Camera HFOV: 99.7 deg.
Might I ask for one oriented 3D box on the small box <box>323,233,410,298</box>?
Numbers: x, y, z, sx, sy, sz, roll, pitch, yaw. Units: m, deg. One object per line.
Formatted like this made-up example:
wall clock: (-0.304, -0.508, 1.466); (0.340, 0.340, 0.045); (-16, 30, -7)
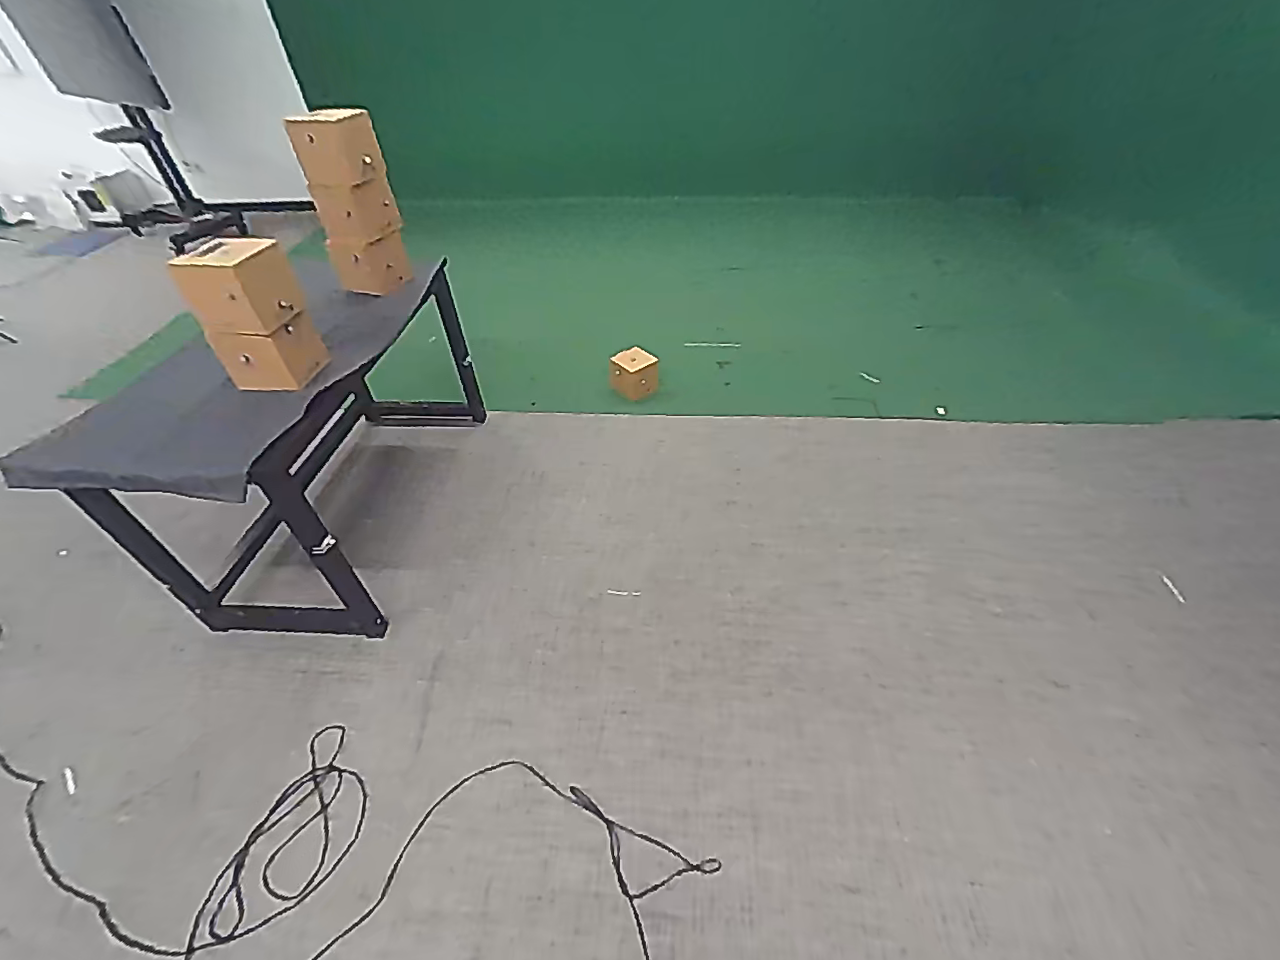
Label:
small box: (-0.921, -0.735, 1.841); (0.179, 0.176, 0.168); (14, 45, 21)

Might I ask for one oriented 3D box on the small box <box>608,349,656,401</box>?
small box: (-0.032, -0.502, 2.616); (0.168, 0.176, 0.179); (-31, 49, -26)

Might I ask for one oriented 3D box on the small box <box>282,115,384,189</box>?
small box: (-0.922, -0.992, 1.637); (0.179, 0.176, 0.168); (7, 44, 12)

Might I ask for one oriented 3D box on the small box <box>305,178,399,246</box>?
small box: (-0.919, -0.866, 1.744); (0.179, 0.176, 0.168); (10, 44, 17)

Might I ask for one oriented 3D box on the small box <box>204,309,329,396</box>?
small box: (-0.970, -0.334, 1.421); (0.179, 0.176, 0.168); (0, 43, 6)
